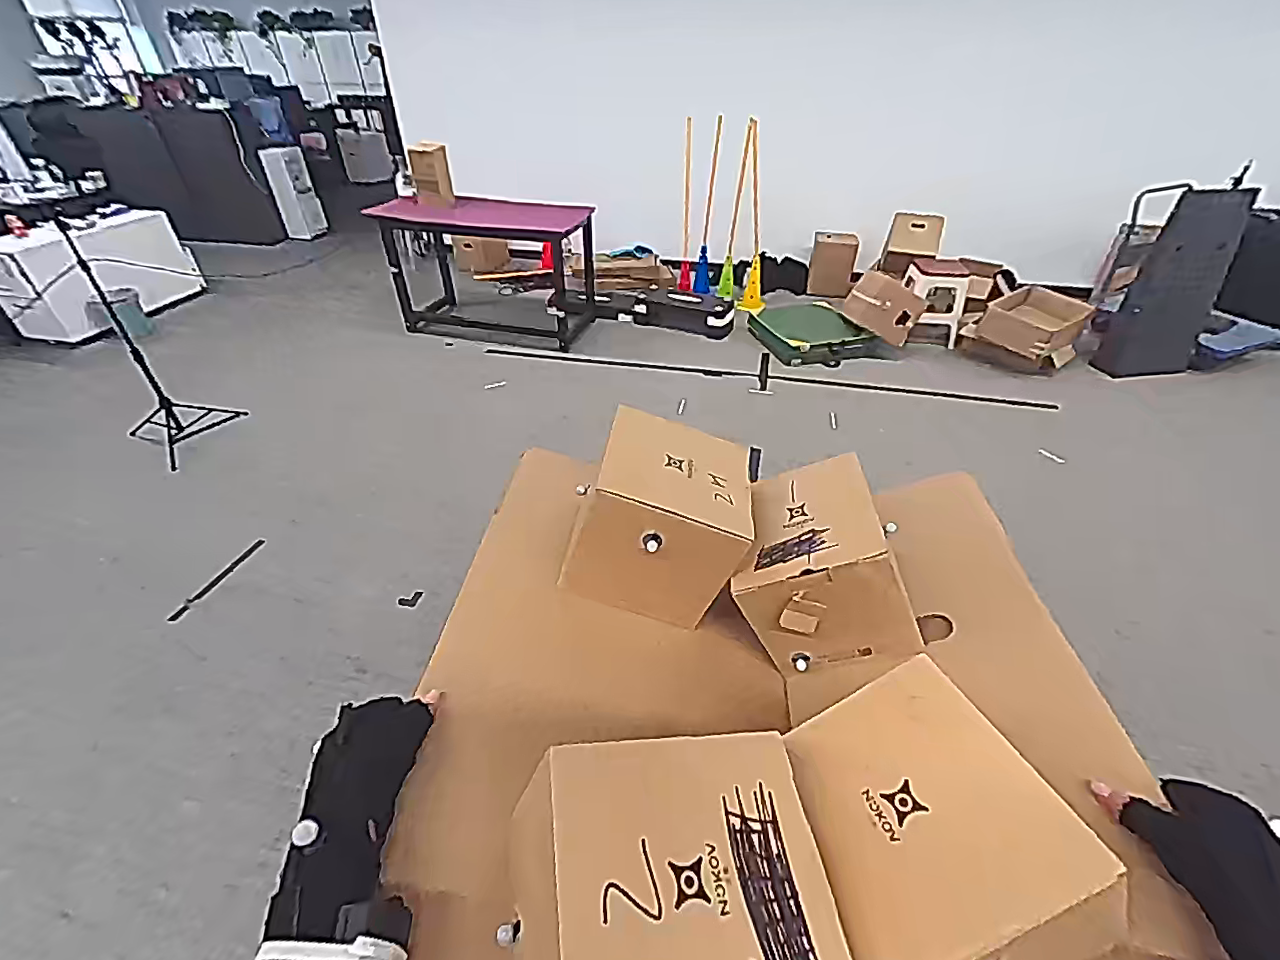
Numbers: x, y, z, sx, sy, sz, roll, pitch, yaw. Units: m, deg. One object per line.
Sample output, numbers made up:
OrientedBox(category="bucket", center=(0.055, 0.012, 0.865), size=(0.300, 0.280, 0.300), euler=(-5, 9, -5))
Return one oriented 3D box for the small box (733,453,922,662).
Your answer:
OrientedBox(category="small box", center=(0.223, 0.102, 0.661), size=(0.168, 0.176, 0.179), euler=(-19, 32, 23))
